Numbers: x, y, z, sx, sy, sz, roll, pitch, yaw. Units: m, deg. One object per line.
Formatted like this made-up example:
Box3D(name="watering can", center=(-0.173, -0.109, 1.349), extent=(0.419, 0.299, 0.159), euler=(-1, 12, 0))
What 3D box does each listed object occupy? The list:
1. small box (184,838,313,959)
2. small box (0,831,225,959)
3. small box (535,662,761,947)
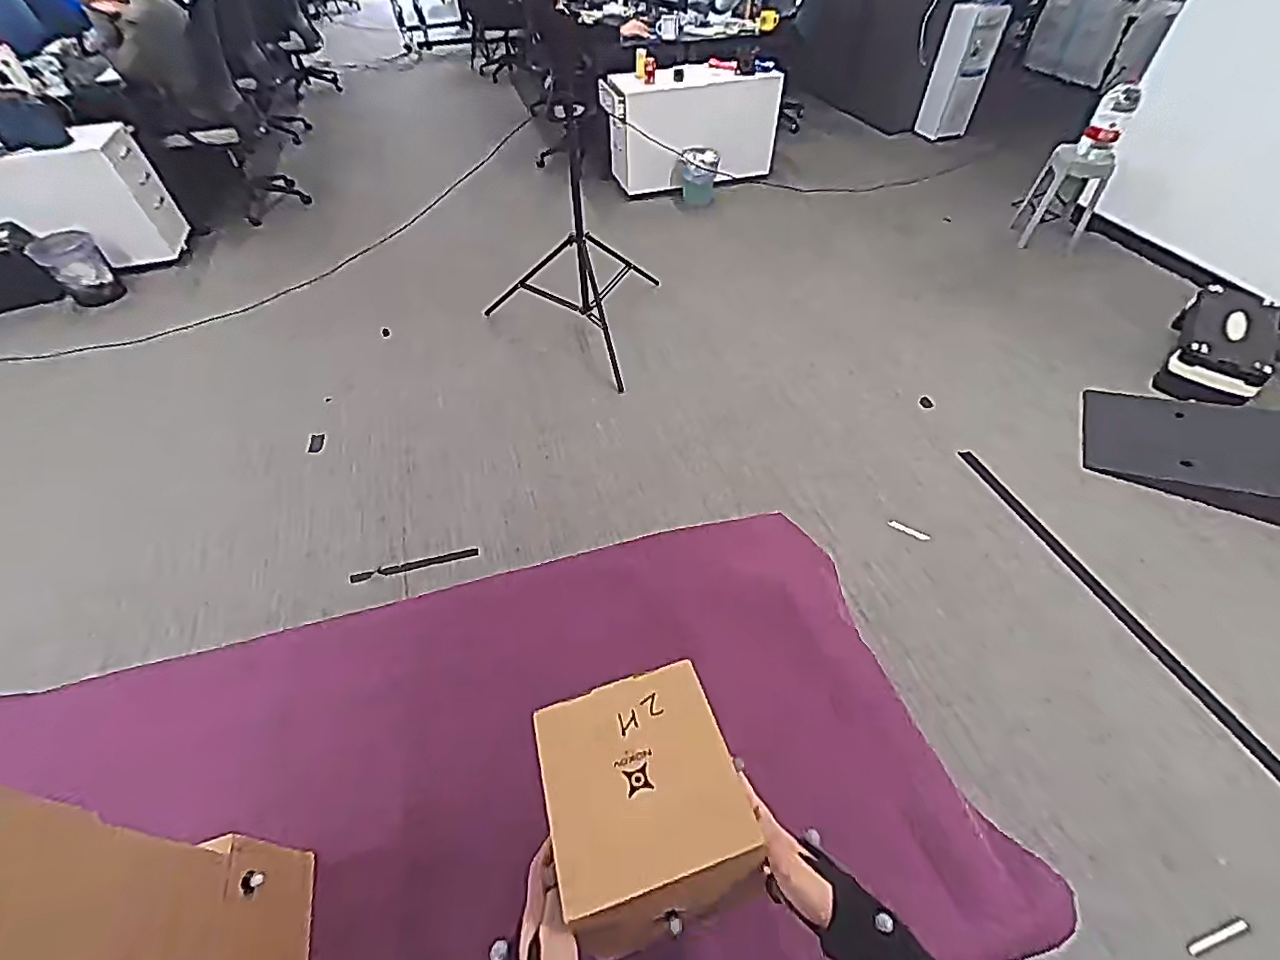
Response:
Box3D(name="small box", center=(-0.437, 0.476, 0.513), extent=(0.168, 0.176, 0.179), euler=(-14, 50, -11))
Box3D(name="small box", center=(-0.429, 0.383, 0.377), extent=(0.168, 0.176, 0.179), euler=(-18, 52, -14))
Box3D(name="small box", center=(0.007, 0.317, 0.528), extent=(0.168, 0.176, 0.179), euler=(-16, 41, -8))
